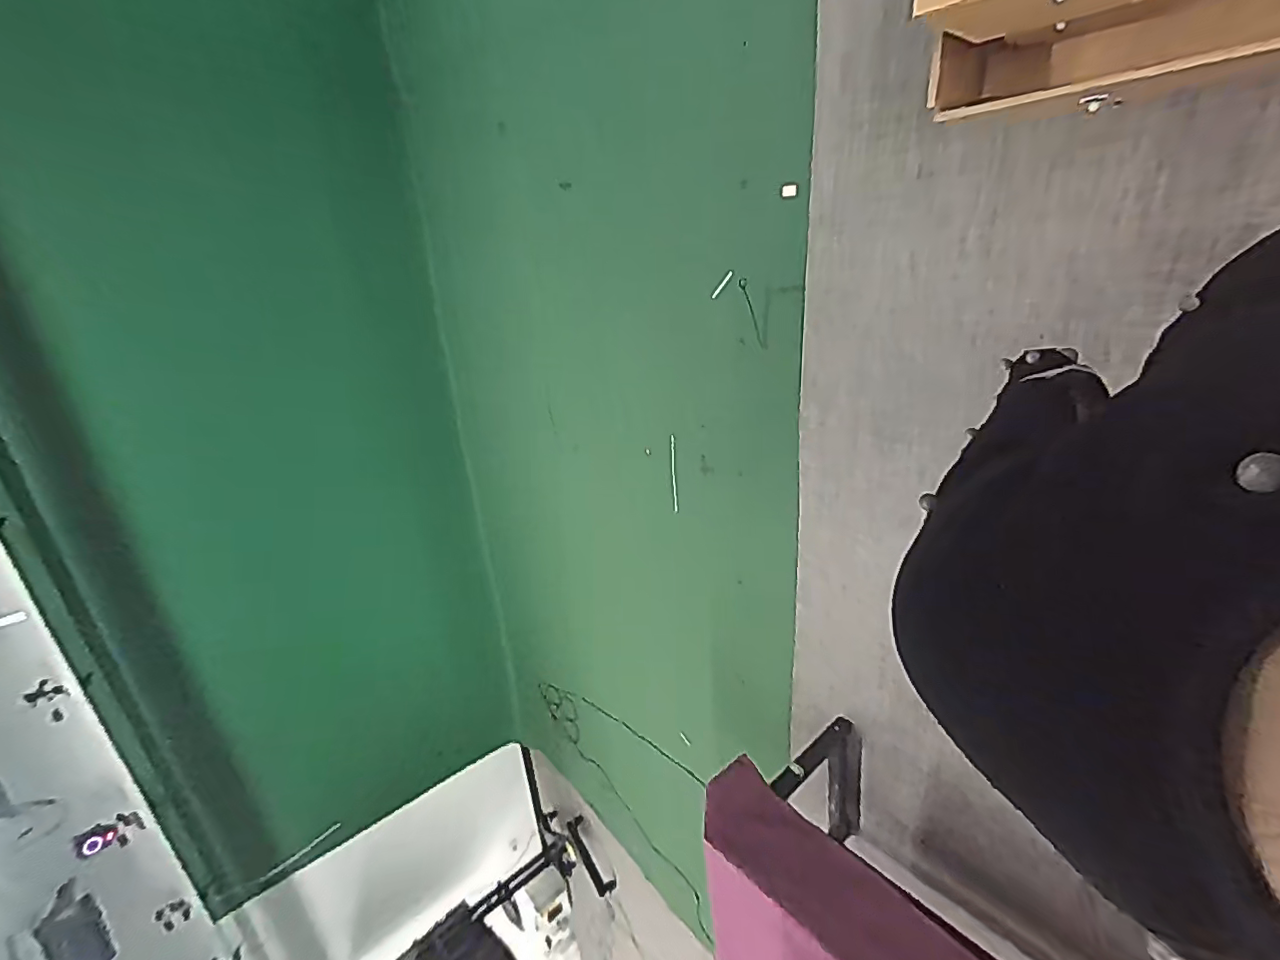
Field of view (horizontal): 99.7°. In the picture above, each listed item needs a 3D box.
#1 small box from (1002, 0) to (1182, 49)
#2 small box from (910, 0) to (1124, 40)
[{"bbox_3d":[0.540,-0.645,0.643,0.179,0.176,0.168,24,125,45],"label":"small box"},{"bbox_3d":[0.415,-0.585,0.556,0.179,0.176,0.168,24,126,44],"label":"small box"}]
